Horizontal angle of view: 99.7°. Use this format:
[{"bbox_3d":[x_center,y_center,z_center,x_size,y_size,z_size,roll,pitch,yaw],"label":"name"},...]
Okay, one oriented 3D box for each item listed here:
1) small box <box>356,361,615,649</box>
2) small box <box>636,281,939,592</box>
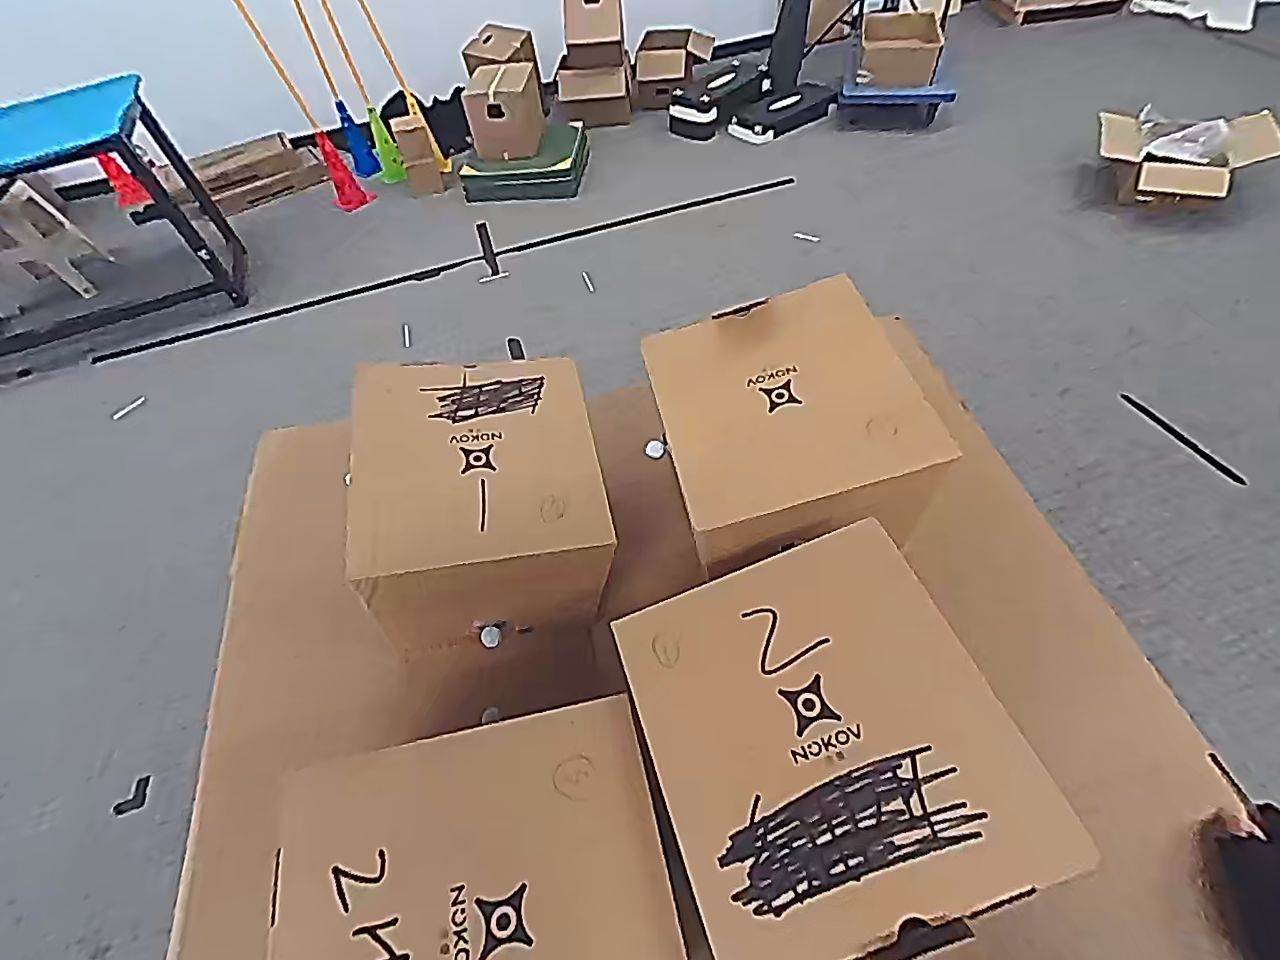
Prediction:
[{"bbox_3d":[-0.126,0.022,0.458,0.168,0.176,0.179,-6,58,-15],"label":"small box"},{"bbox_3d":[0.108,-0.022,0.446,0.168,0.176,0.179,-17,57,4],"label":"small box"}]
